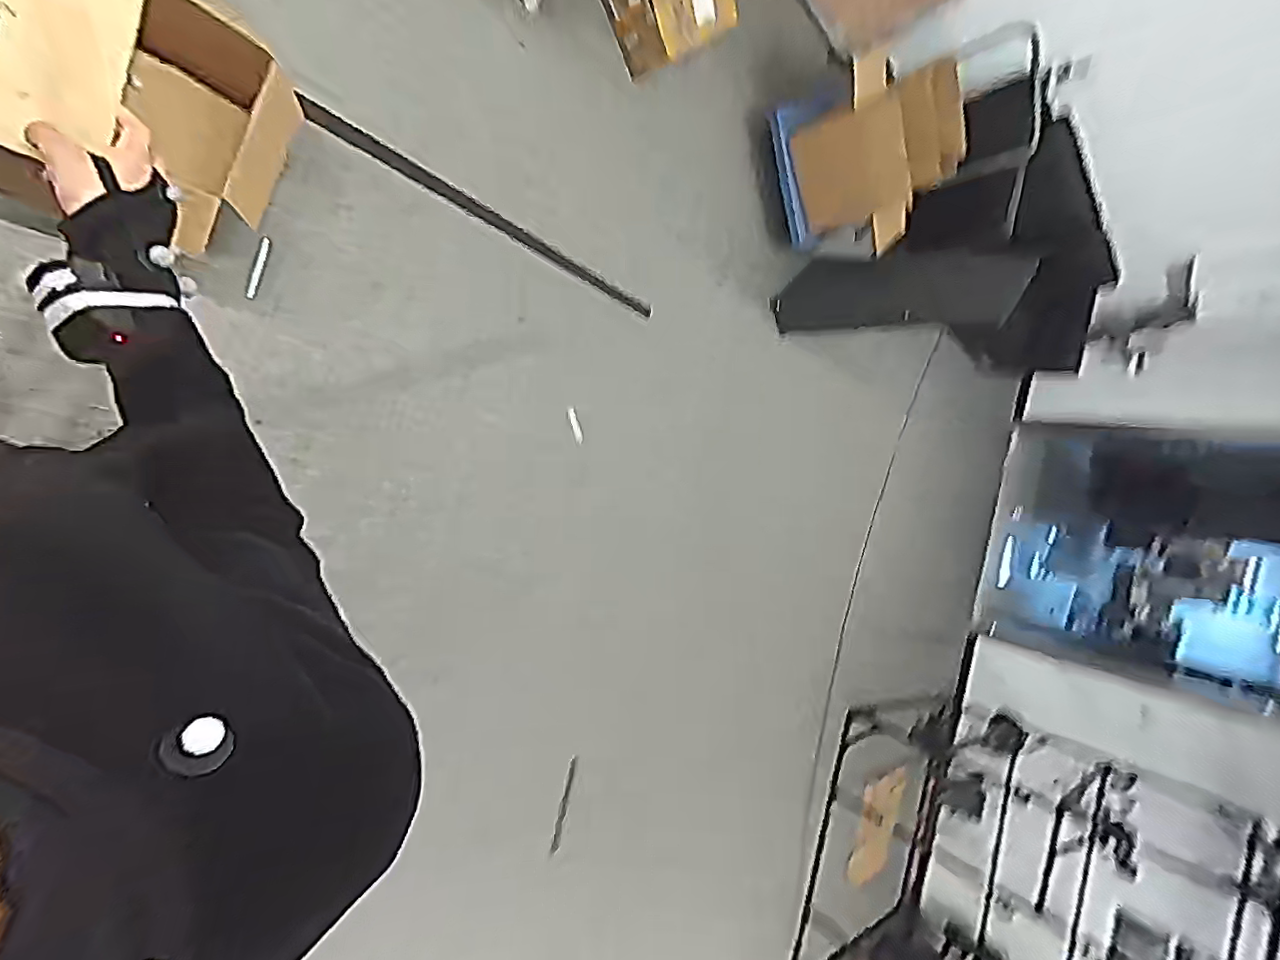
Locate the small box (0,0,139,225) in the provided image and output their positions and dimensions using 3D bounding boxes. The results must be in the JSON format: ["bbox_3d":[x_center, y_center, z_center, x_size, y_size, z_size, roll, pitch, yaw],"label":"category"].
[{"bbox_3d":[-0.564,-0.353,0.460,0.168,0.176,0.179,12,85,-49],"label":"small box"}]
